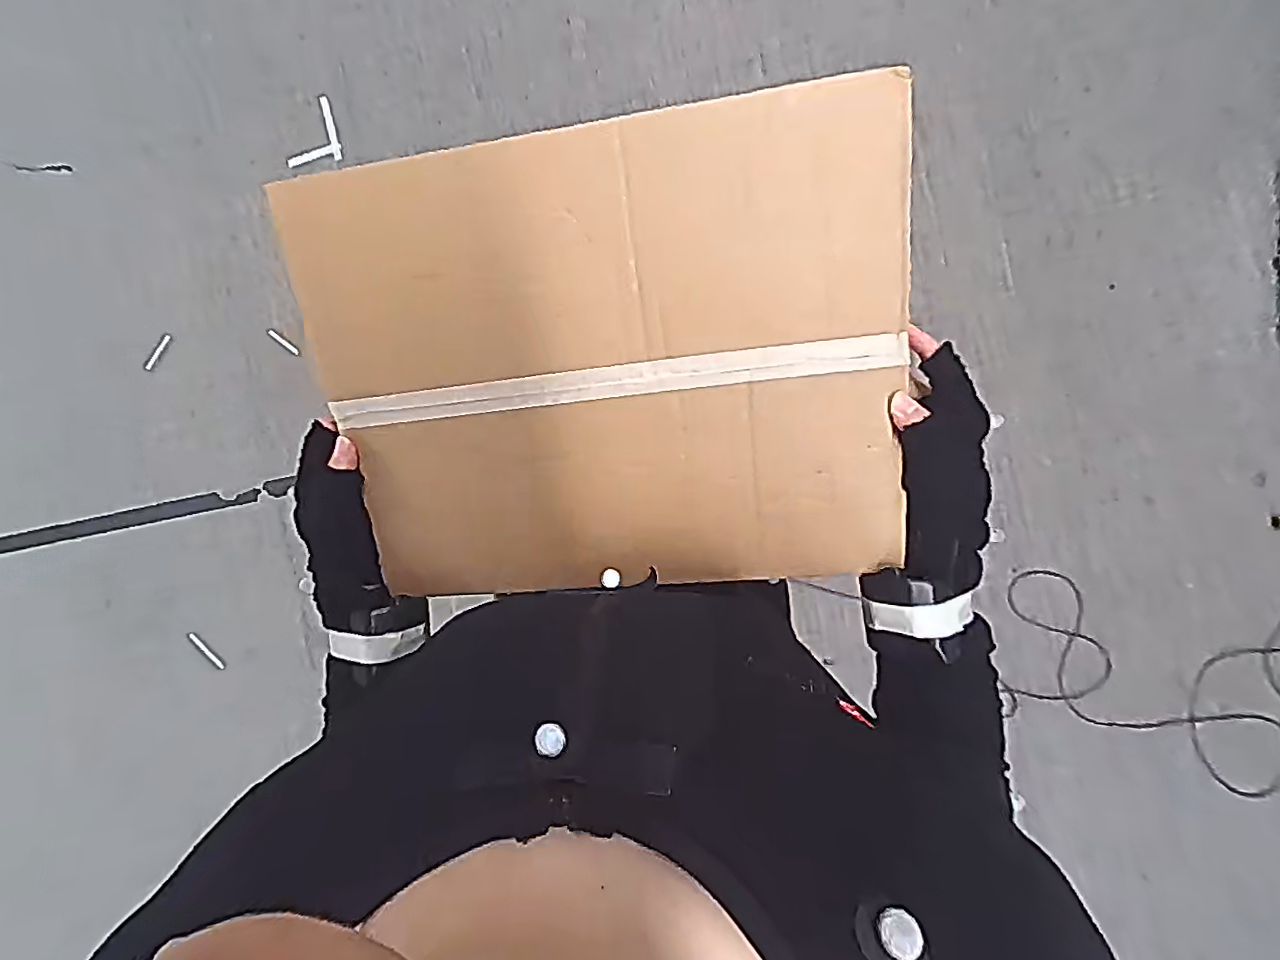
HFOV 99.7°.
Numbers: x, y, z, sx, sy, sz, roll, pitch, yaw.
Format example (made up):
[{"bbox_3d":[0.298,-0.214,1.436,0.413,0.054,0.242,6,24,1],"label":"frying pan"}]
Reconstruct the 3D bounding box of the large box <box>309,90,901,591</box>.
[{"bbox_3d":[-0.005,-0.111,0.532,0.408,0.320,0.320,-5,108,9],"label":"large box"}]
